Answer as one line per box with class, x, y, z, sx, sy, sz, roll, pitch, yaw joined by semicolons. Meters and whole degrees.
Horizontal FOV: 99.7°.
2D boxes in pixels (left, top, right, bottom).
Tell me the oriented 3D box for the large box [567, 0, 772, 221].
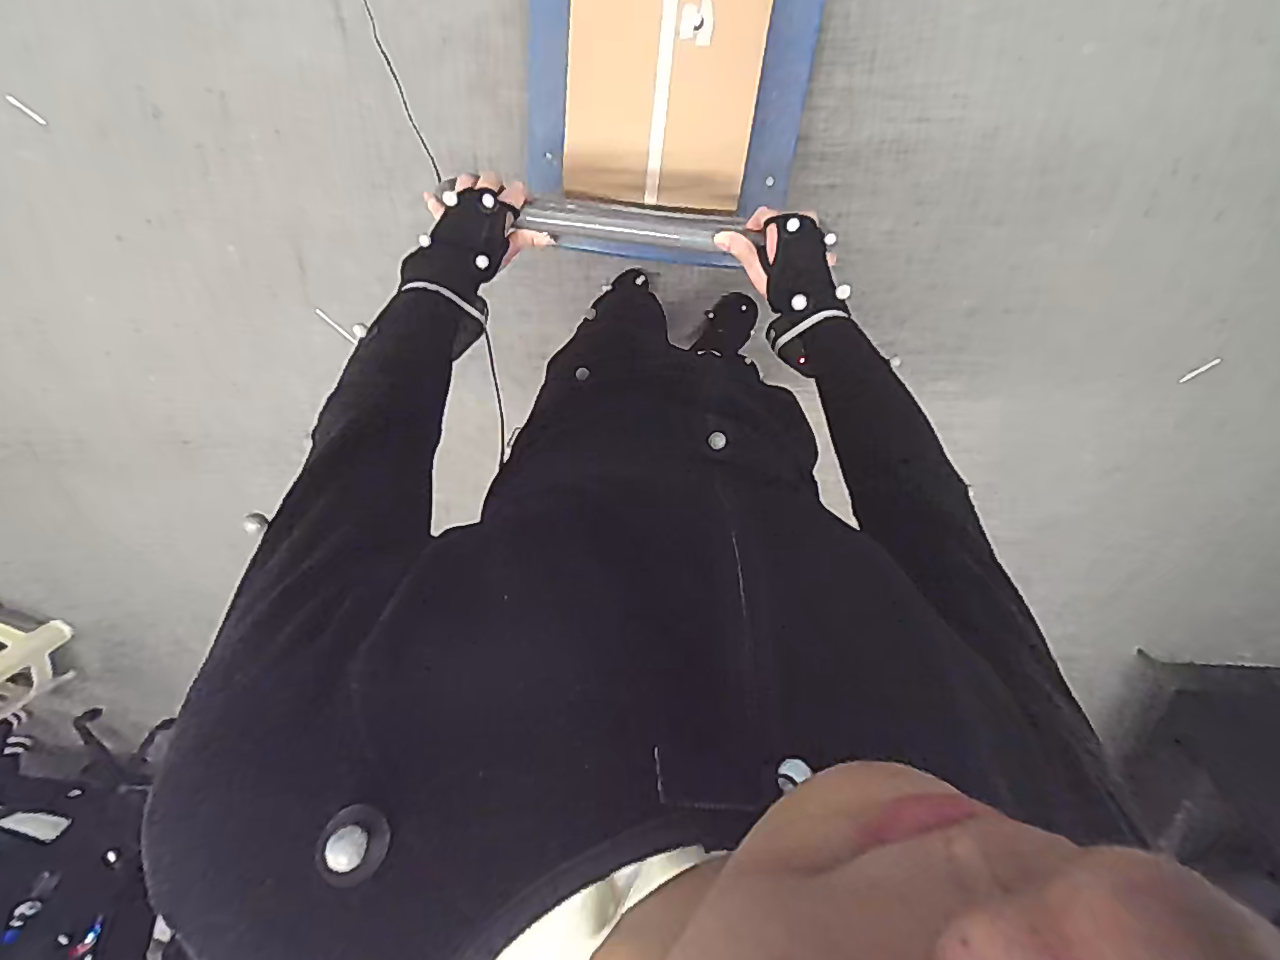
large box;0.052;-0.718;1.009;0.320;0.320;0.408;7;114;1
